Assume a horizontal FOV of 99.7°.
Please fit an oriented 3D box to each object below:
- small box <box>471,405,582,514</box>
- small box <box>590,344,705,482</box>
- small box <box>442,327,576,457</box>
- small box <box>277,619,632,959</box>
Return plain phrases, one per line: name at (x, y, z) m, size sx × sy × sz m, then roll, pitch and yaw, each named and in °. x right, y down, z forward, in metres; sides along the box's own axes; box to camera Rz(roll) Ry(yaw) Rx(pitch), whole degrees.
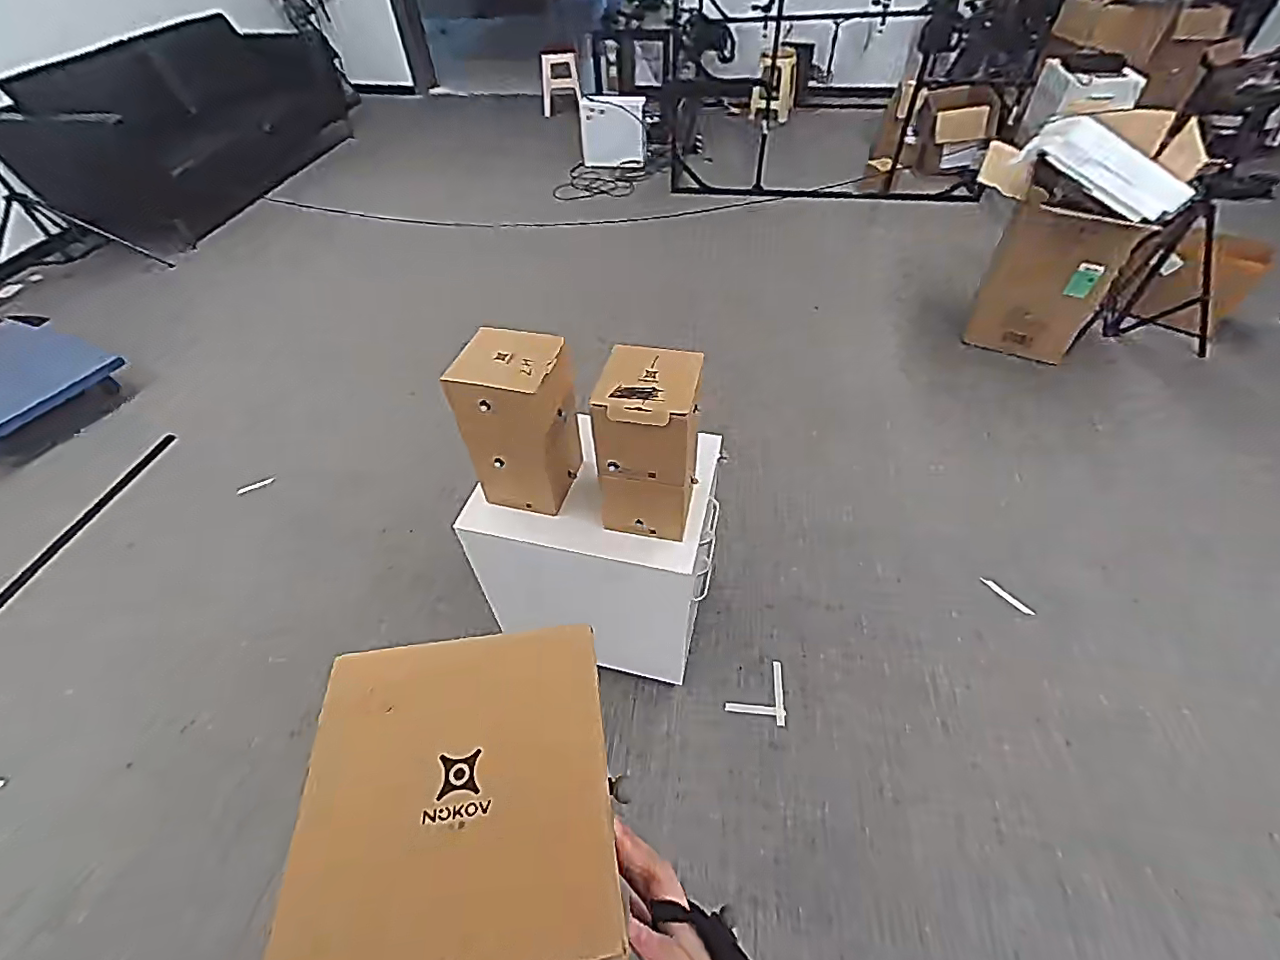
small box at (-0.228, -0.057, 1.142) m, size 0.168 × 0.176 × 0.179 m, roll 11°, pitch 49°, yaw 11°
small box at (0.020, -0.118, 0.970) m, size 0.168 × 0.176 × 0.179 m, roll 9°, pitch 49°, yaw 10°
small box at (-0.233, -0.163, 1.016) m, size 0.179 × 0.176 × 0.168 m, roll 11°, pitch 50°, yaw 11°
small box at (-0.100, 0.218, 0.364) m, size 0.168 × 0.176 × 0.179 m, roll -5°, pitch 49°, yaw -7°
